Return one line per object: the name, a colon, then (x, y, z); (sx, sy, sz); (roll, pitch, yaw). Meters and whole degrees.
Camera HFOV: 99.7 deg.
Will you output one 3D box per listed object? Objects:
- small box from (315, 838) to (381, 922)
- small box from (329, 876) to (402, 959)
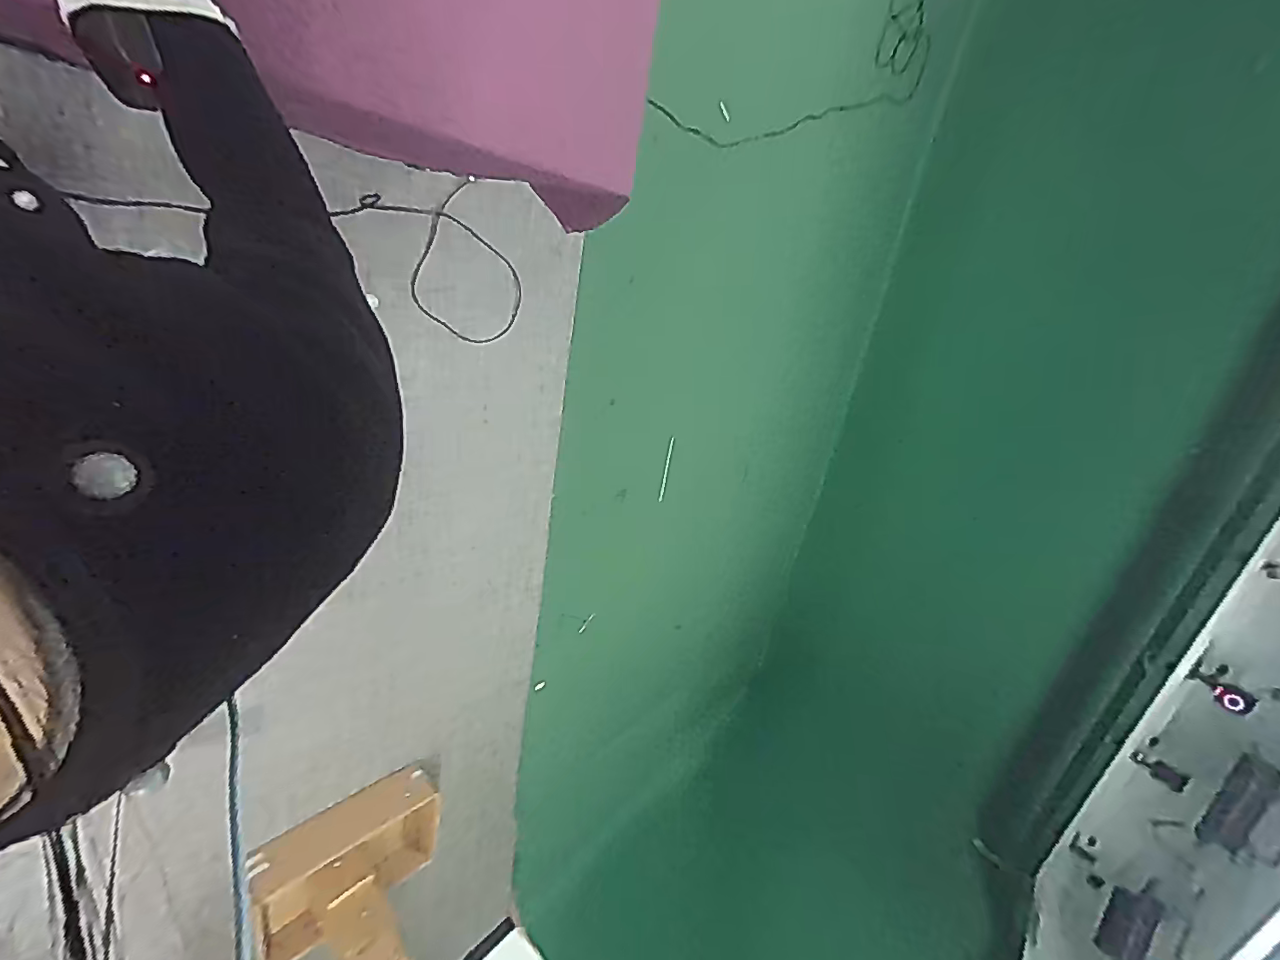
small box: (-1.077, 1.481, 1.991); (0.168, 0.176, 0.179); (-15, 122, -50)
small box: (-0.963, 1.557, 1.900); (0.179, 0.176, 0.168); (-20, 126, -47)
